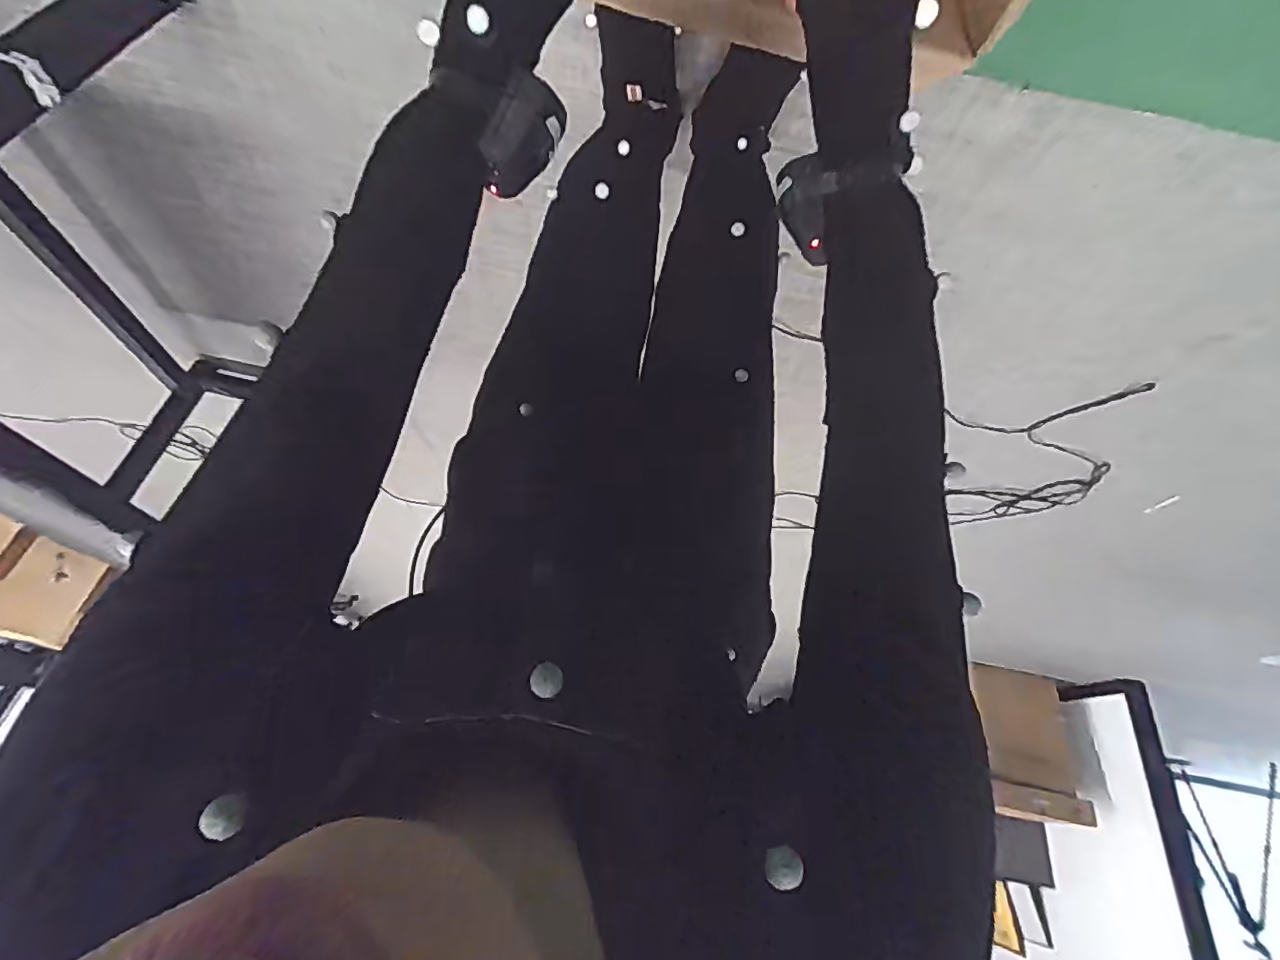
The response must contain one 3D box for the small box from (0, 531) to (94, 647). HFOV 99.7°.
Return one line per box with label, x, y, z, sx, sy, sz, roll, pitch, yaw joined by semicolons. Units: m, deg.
small box;-1.187;0.191;0.989;0.179;0.176;0.168;11;152;-1
